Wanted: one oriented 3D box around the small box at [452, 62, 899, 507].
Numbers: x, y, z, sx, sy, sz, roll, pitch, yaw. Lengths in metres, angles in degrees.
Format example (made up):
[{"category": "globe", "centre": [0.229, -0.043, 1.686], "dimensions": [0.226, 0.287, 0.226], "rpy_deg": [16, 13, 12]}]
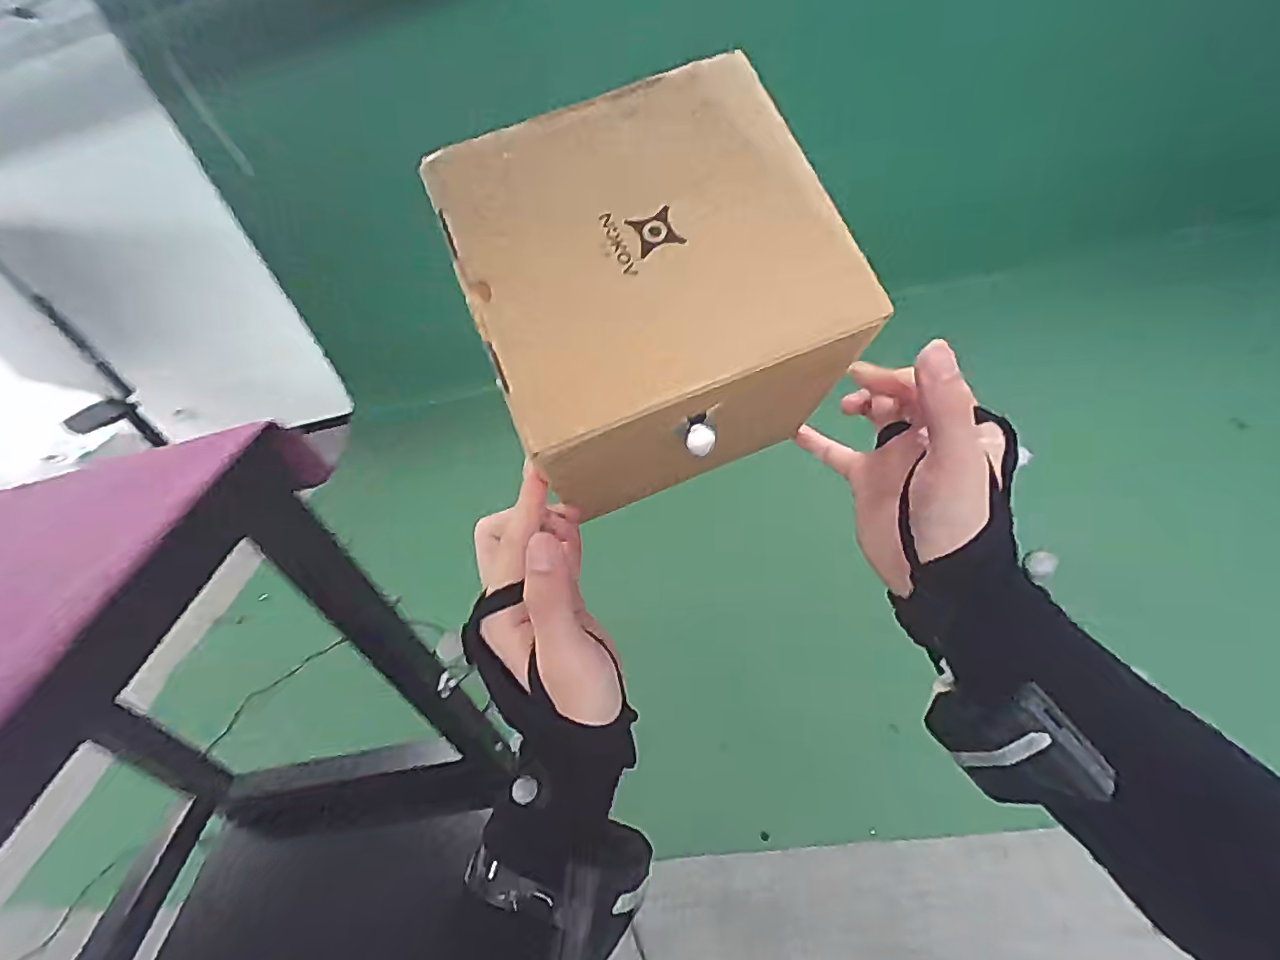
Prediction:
[{"category": "small box", "centre": [0.014, -0.098, 0.340], "dimensions": [0.179, 0.176, 0.168], "rpy_deg": [-22, 76, -3]}]
